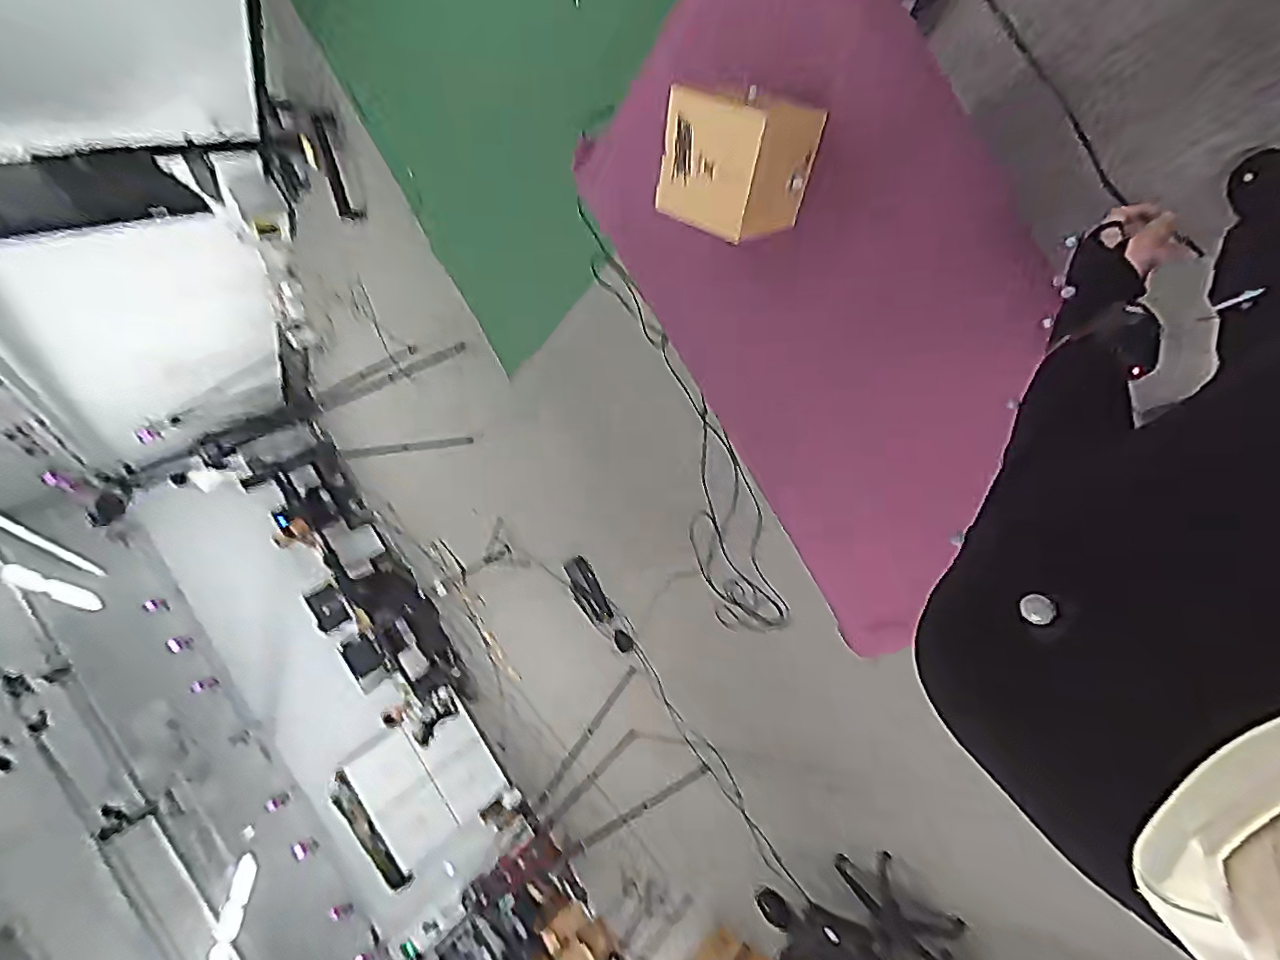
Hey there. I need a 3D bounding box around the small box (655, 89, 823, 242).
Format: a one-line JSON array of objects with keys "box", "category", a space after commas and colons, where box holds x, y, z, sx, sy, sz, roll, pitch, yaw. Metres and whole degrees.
[{"box": [0.151, -0.498, 0.851, 0.179, 0.176, 0.168, 36, 139, 26], "category": "small box"}]
